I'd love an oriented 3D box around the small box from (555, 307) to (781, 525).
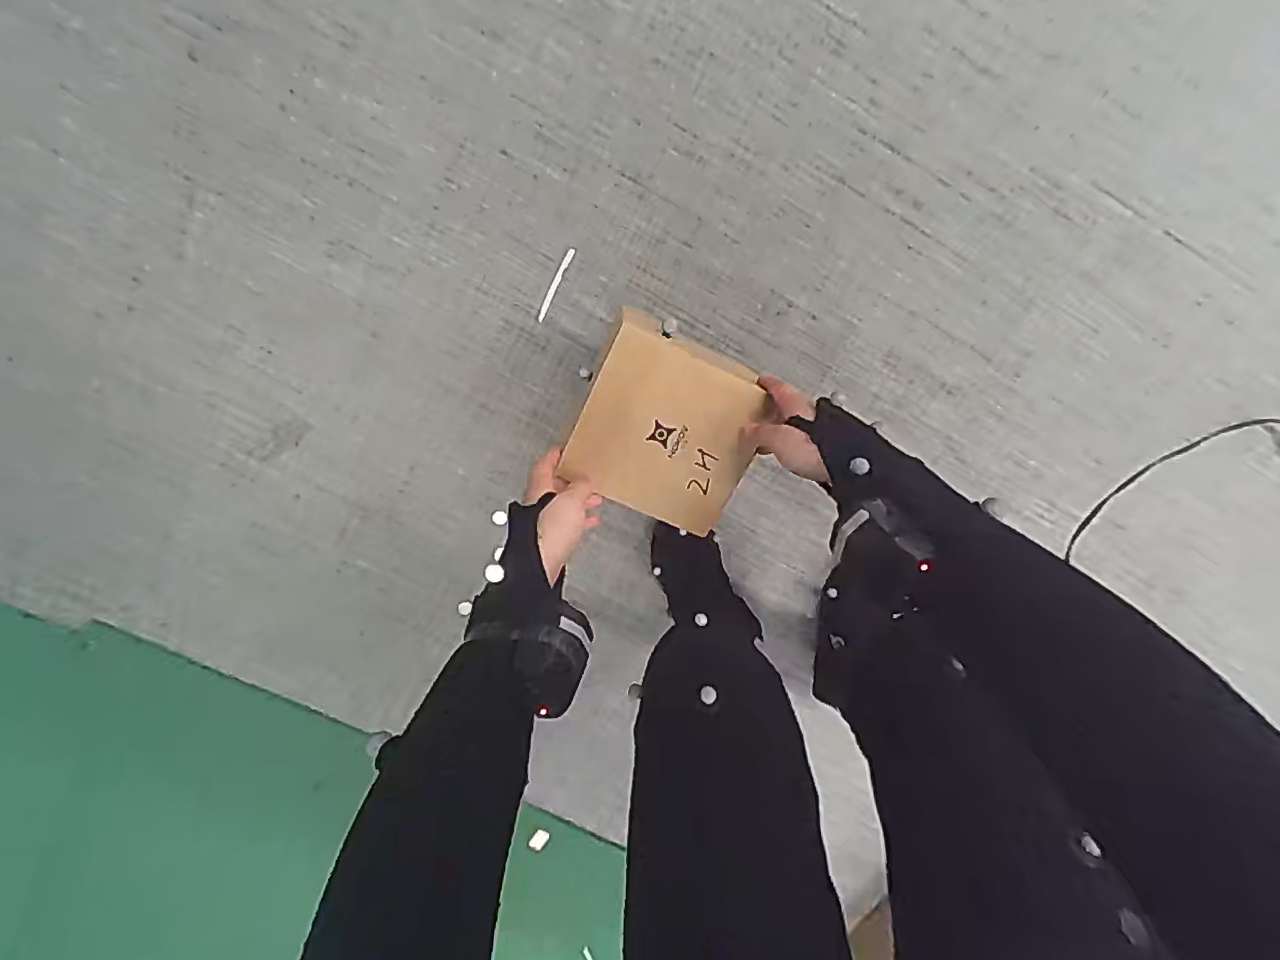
[{"bbox_3d":[0.023,-0.082,0.608,0.179,0.176,0.168,24,110,-11],"label":"small box"}]
